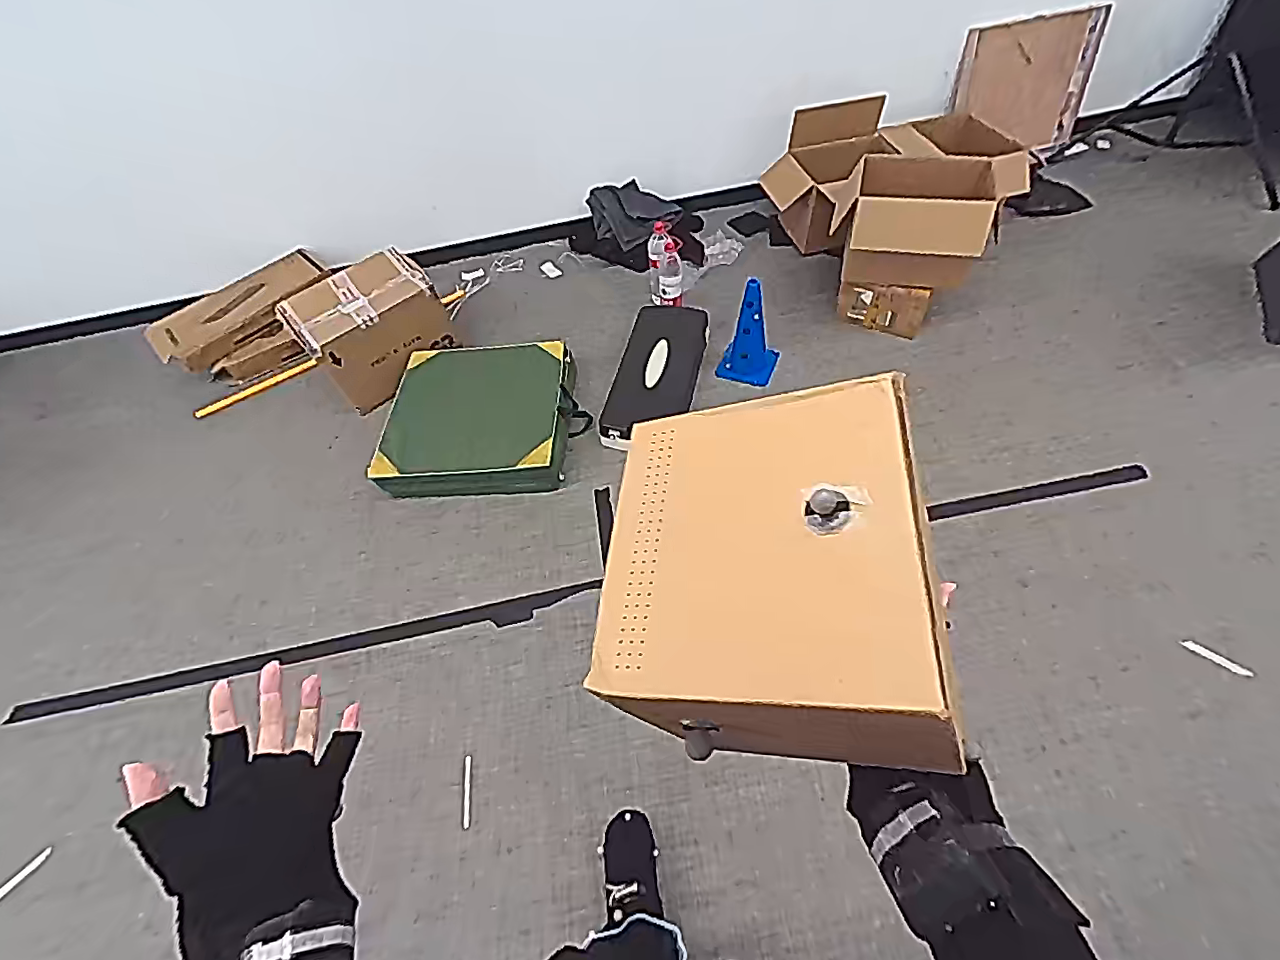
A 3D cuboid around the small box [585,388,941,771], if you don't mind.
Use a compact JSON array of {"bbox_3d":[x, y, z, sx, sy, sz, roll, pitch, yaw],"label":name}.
[{"bbox_3d":[0.083,0.072,0.350,0.176,0.168,0.179,-10,53,28],"label":"small box"}]
